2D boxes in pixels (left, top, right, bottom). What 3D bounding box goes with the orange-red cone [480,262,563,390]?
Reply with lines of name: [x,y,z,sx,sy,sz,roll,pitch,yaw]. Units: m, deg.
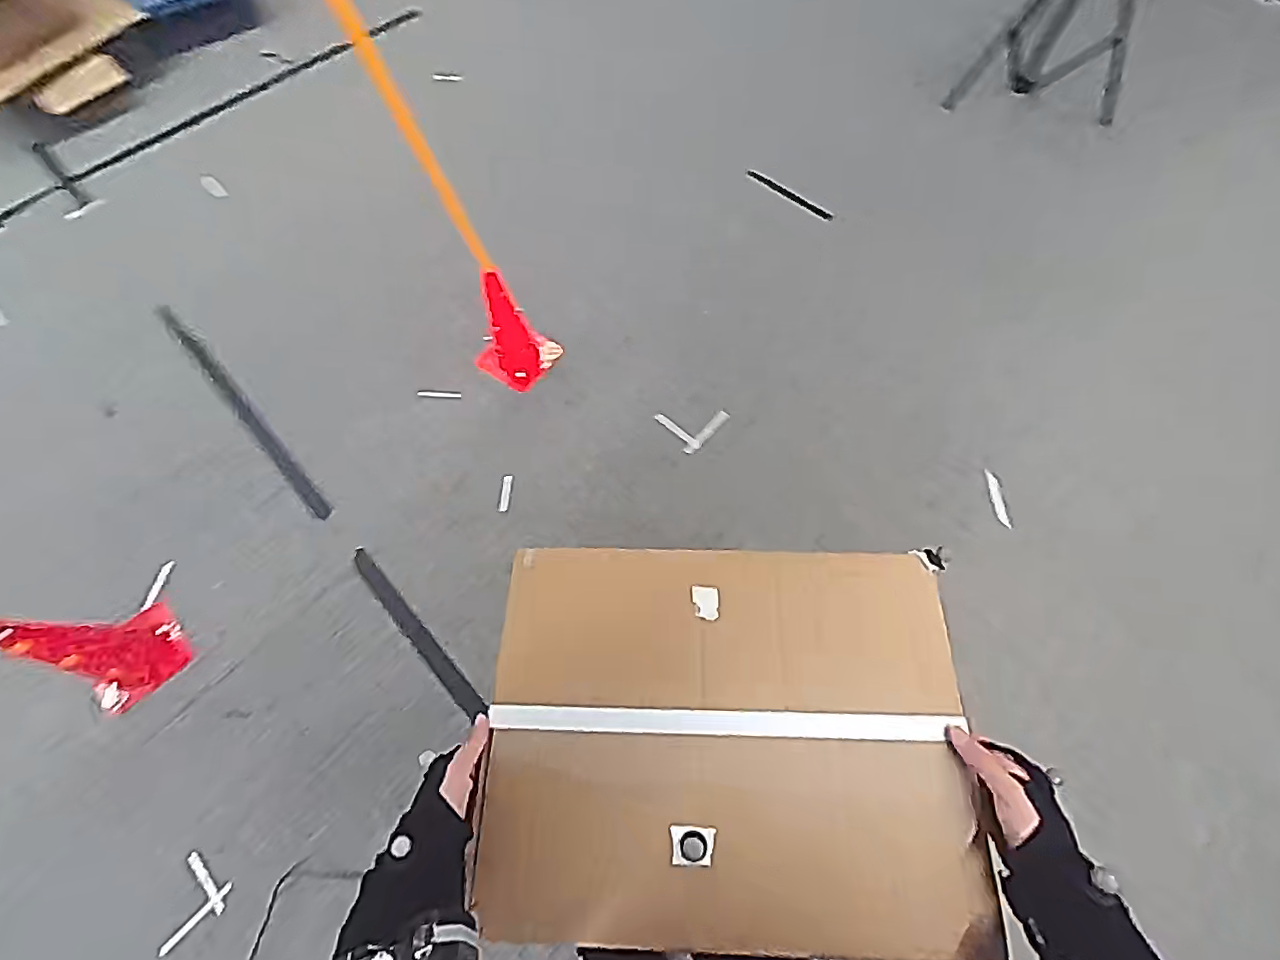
orange-red cone: [-0.361,-0.451,1.490,0.198,0.360,0.199,34,69,15]
